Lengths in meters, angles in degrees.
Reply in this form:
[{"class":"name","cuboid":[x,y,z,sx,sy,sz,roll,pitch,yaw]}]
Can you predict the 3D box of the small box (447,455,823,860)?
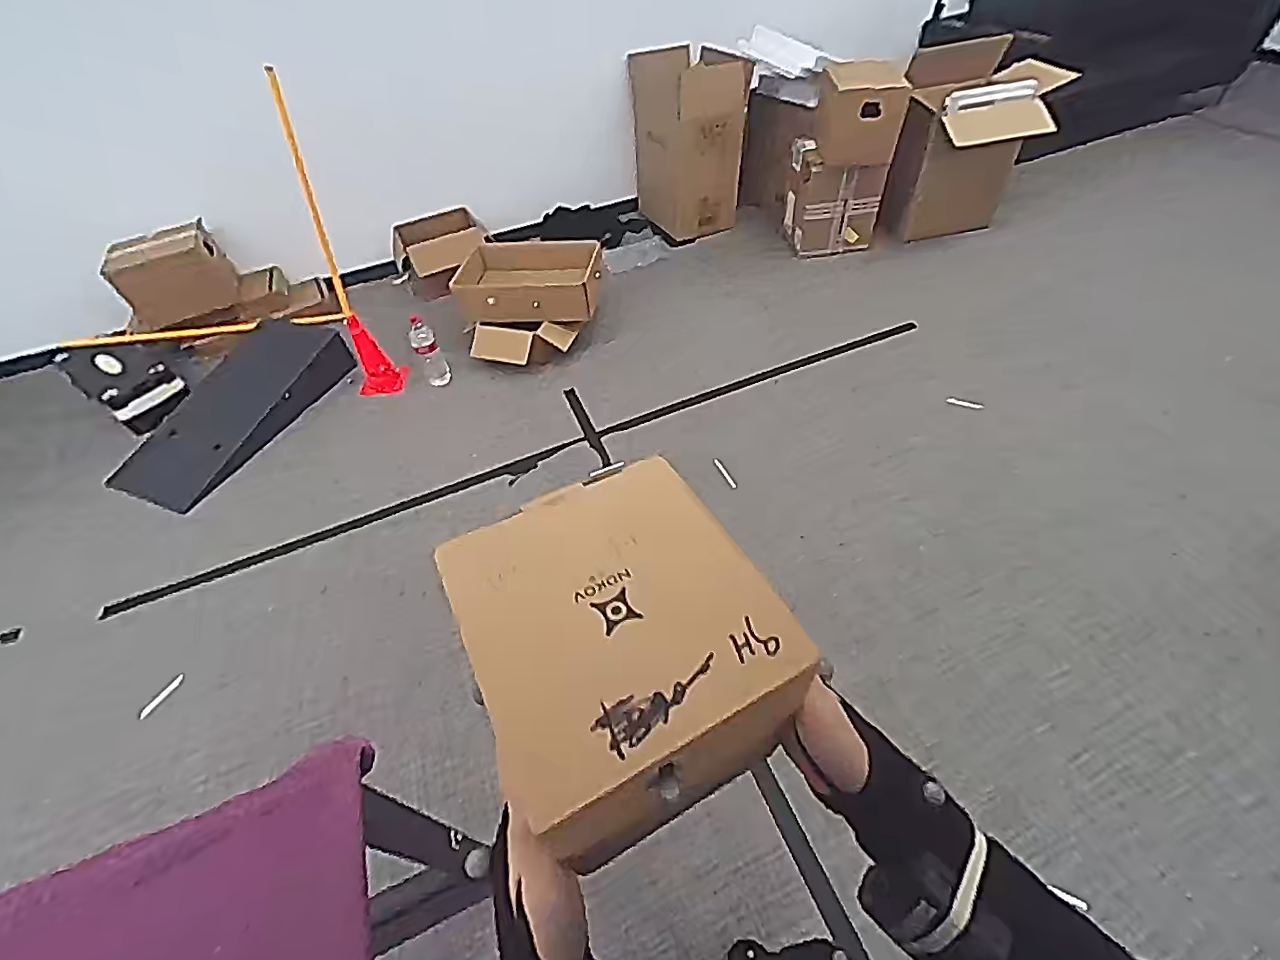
[{"class":"small box","cuboid":[-0.009,0.119,0.372,0.168,0.176,0.179,-24,51,-16]}]
